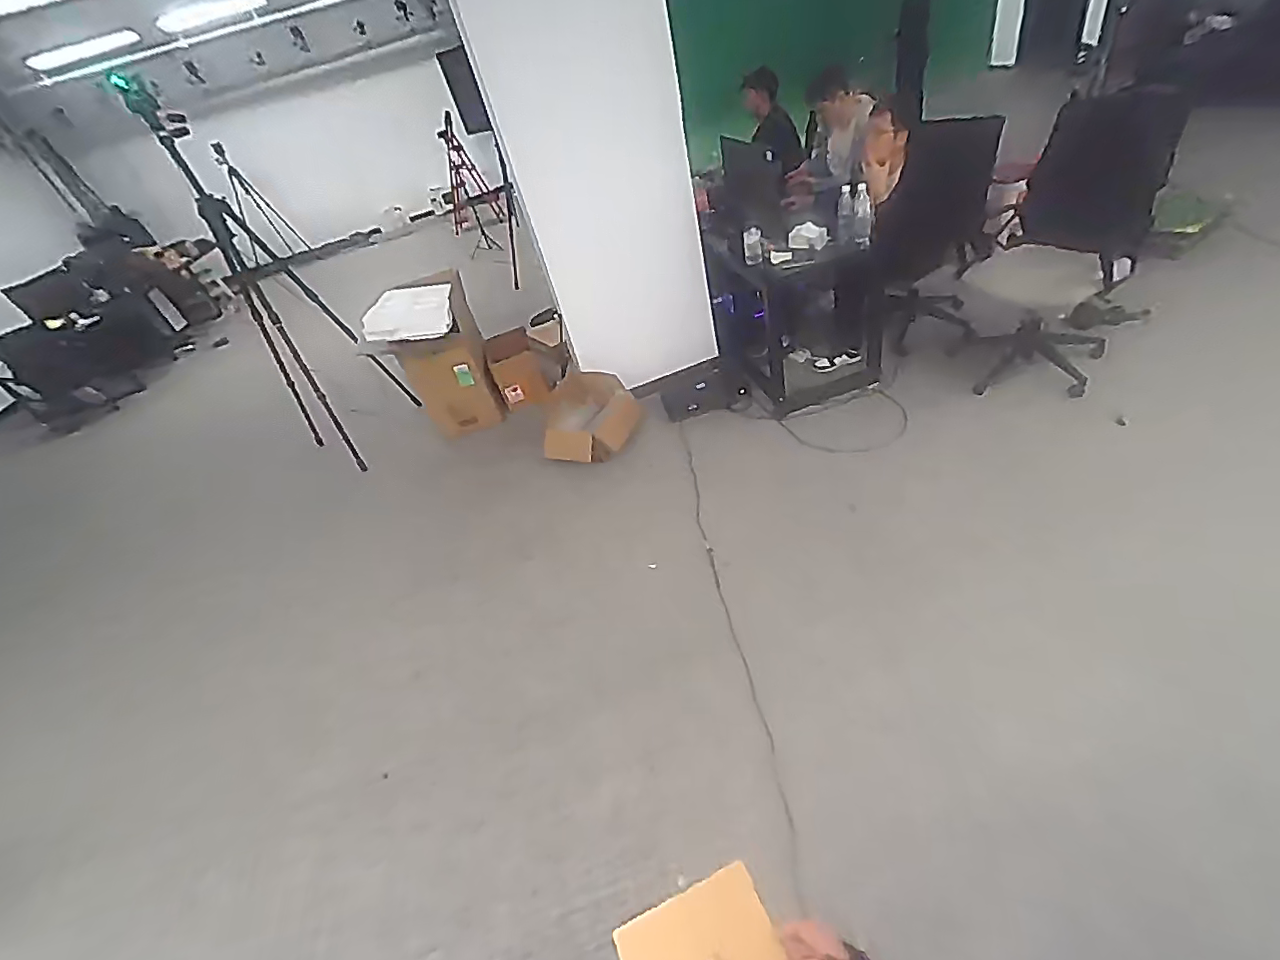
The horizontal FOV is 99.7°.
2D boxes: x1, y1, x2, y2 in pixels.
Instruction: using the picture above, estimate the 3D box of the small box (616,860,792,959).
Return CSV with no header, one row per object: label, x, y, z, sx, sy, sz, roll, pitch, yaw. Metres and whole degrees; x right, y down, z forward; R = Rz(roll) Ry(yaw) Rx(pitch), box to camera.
small box,0.089,0.600,0.648,0.179,0.176,0.168,-21,49,-13
